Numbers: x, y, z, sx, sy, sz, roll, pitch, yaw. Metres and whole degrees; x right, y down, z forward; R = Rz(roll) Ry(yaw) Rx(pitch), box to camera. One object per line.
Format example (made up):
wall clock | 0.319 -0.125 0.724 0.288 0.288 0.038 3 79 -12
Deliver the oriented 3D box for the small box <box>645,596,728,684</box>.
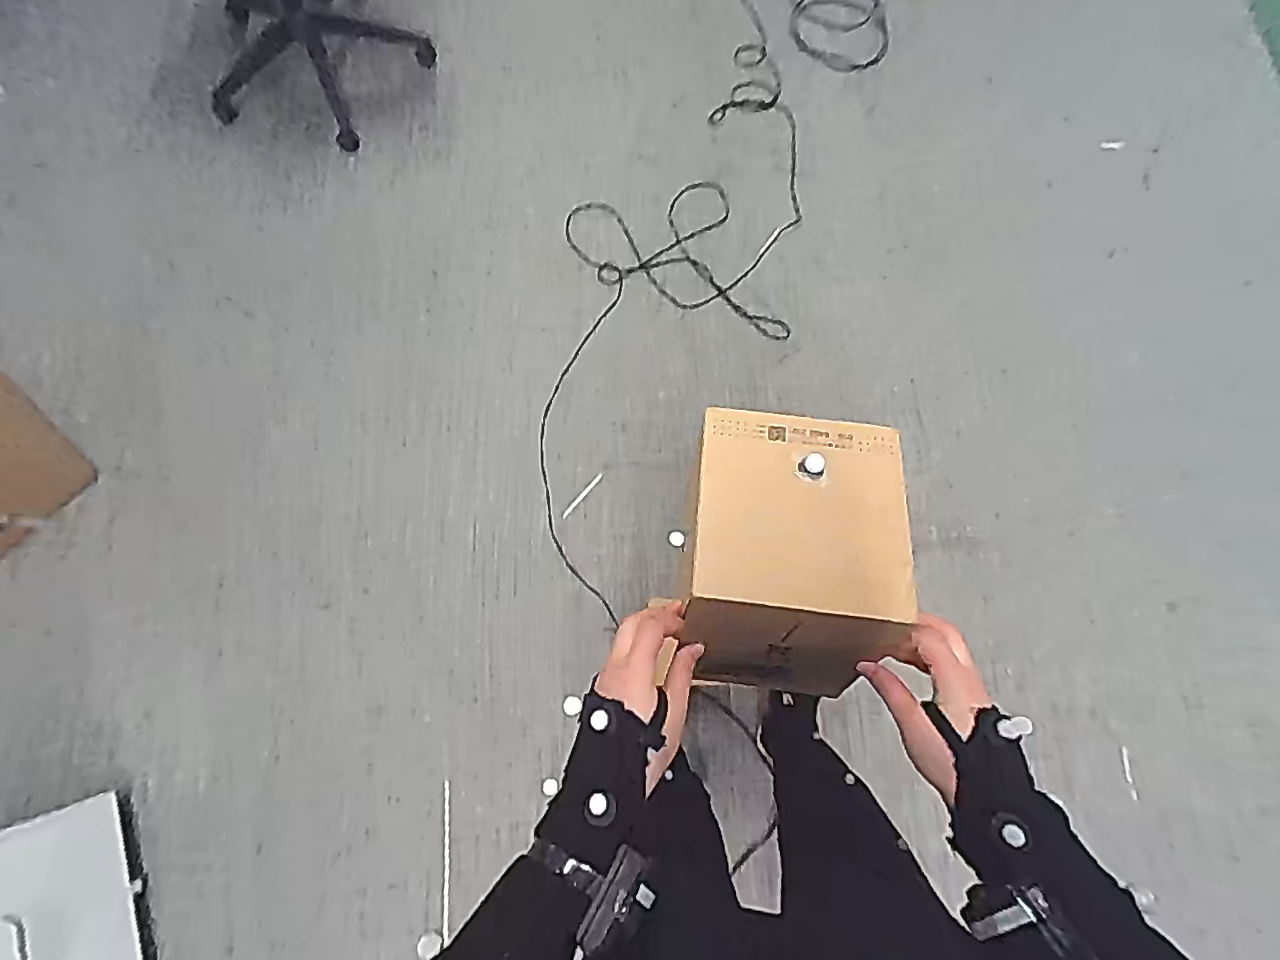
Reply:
small box | 0.097 0.344 1.186 0.168 0.176 0.179 0 76 -2

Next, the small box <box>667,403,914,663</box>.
small box | 0.121 0.055 0.488 0.168 0.179 0.176 7 63 2
